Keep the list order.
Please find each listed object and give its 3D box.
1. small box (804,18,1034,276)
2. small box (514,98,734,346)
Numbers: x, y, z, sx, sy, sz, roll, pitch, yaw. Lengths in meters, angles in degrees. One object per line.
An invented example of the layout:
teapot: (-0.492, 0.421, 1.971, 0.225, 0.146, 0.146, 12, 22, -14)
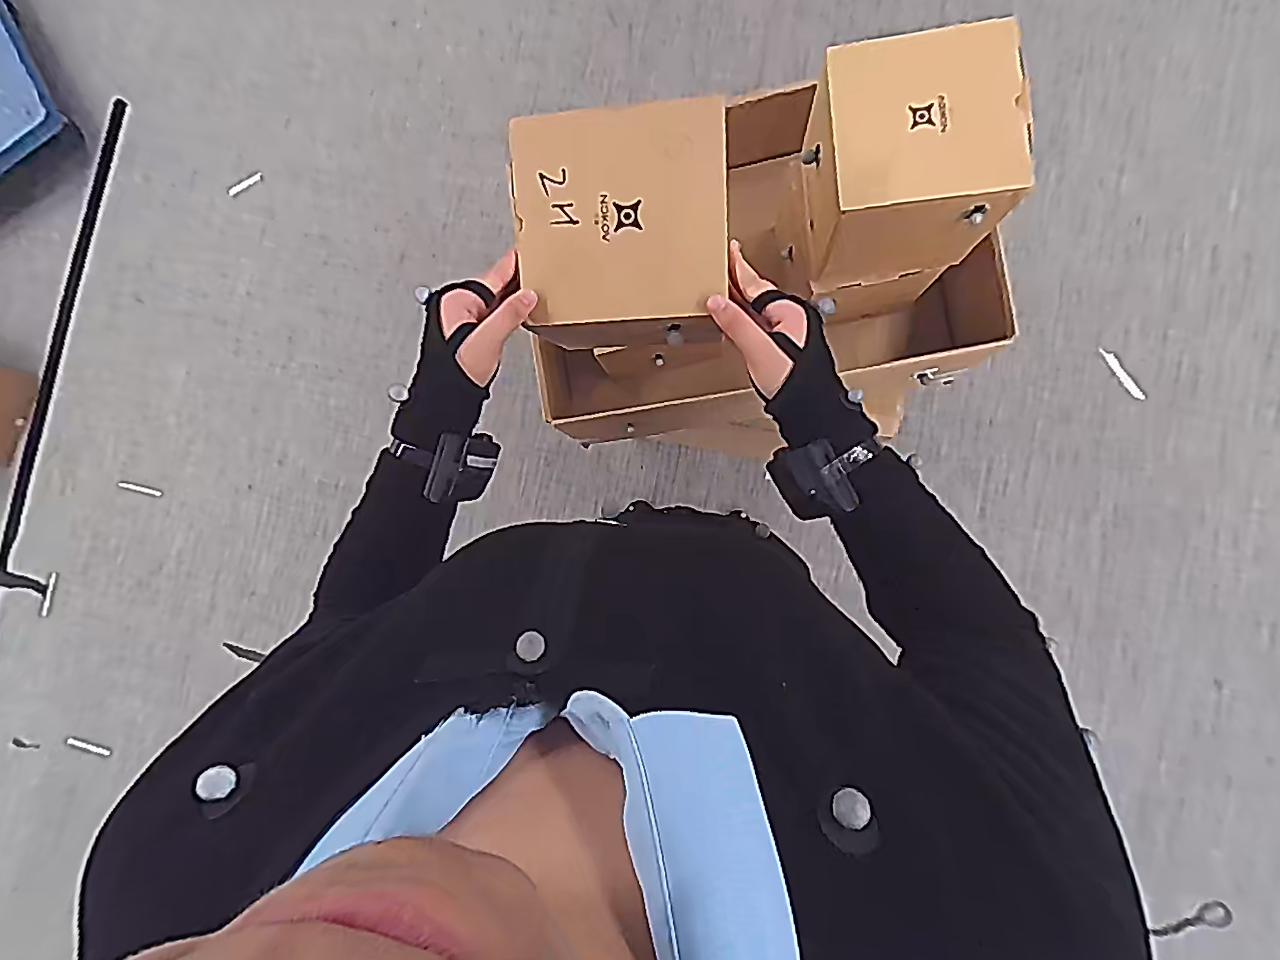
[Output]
small box: (0.280, -0.339, 0.589, 0.179, 0.176, 0.168, -5, 87, 7)
small box: (-0.005, -0.222, 0.512, 0.179, 0.176, 0.168, -1, 97, 7)
